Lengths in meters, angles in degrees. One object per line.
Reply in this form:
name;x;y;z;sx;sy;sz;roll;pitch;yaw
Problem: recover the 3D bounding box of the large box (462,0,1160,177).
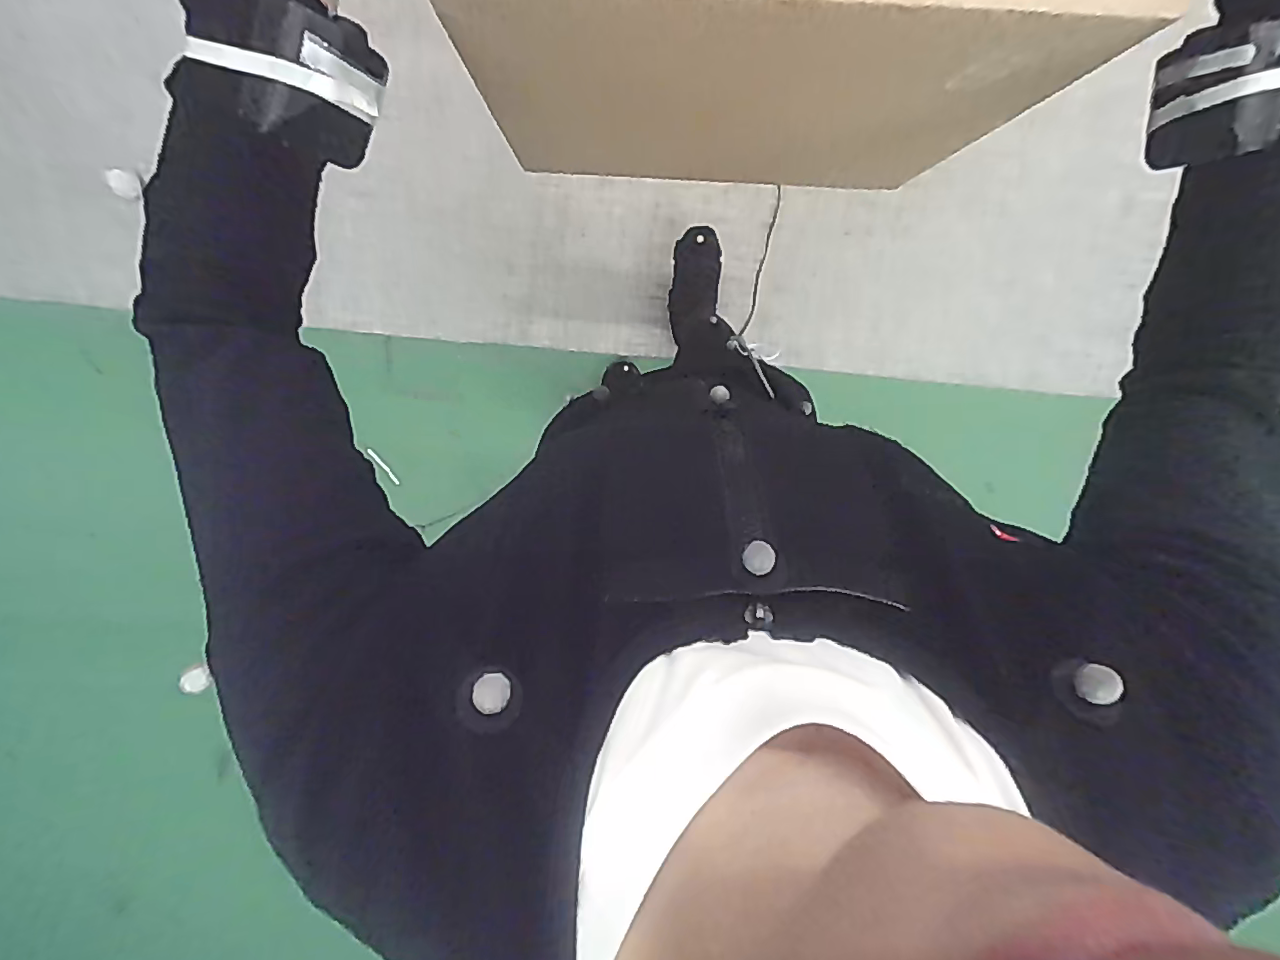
large box;0.088;-0.443;0.400;0.408;0.320;0.320;1;104;-3
